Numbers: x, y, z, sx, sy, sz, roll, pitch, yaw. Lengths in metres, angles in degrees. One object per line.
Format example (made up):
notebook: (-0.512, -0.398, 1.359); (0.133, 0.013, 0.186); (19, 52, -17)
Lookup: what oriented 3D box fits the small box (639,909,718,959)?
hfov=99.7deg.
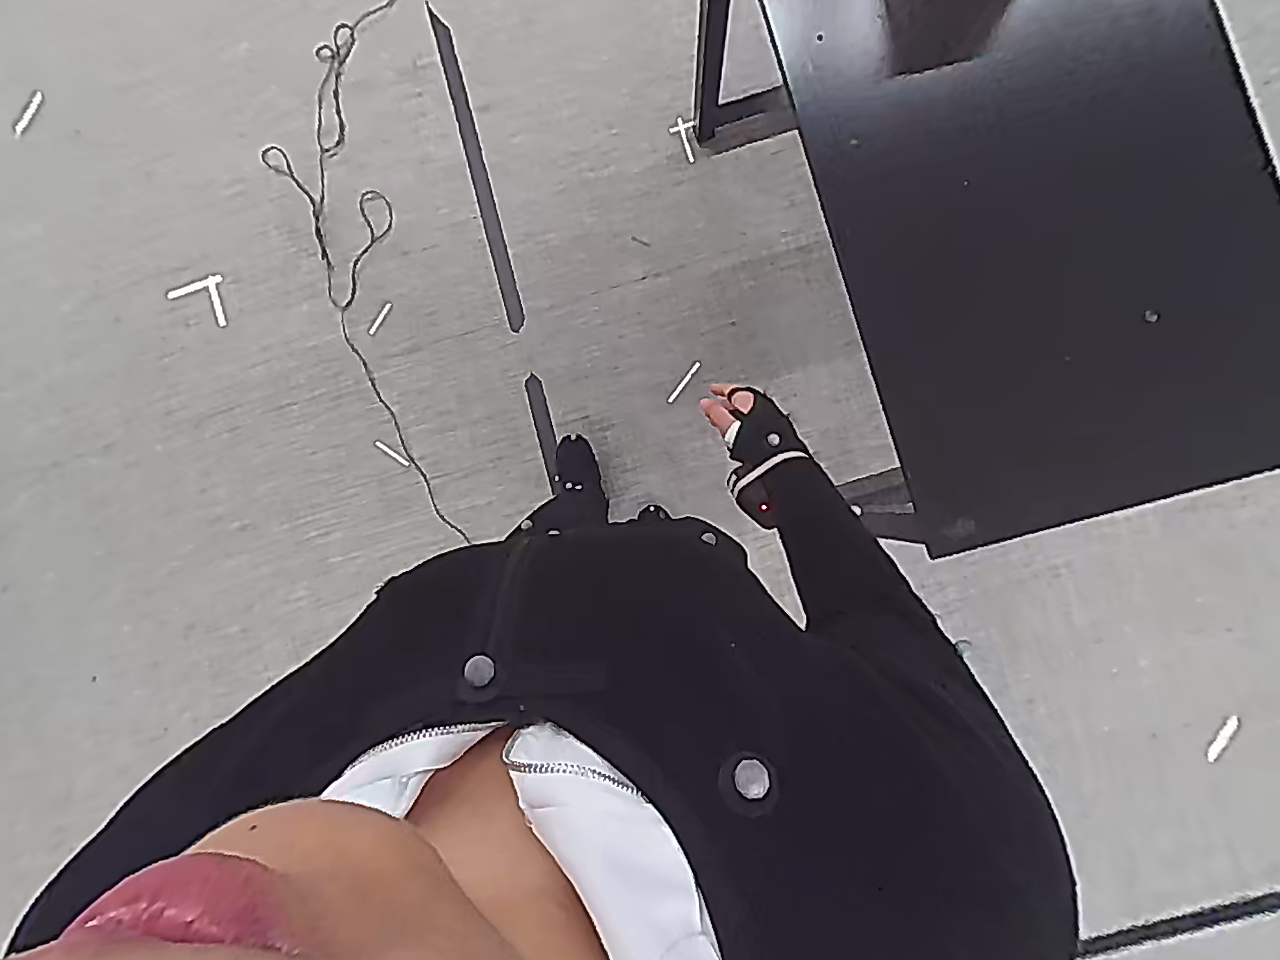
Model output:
small box: (0.102, 1.229, 1.352); (0.179, 0.176, 0.168); (-16, 87, 2)
